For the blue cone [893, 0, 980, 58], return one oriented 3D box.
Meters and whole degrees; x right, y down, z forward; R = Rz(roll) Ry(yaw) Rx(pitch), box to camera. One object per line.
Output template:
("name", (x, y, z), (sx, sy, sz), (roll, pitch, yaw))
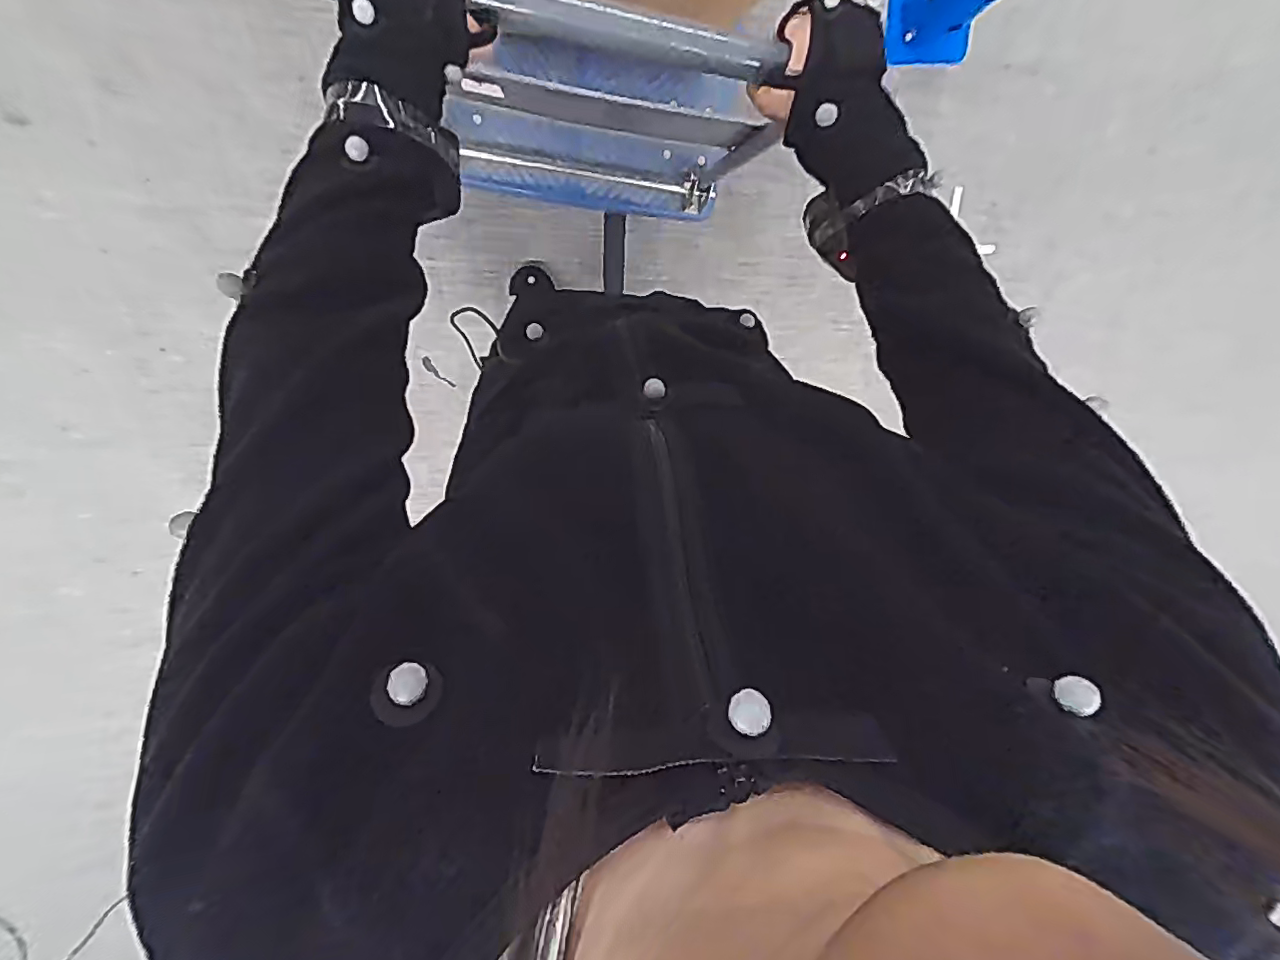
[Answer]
("blue cone", (0.667, -0.970, 1.022), (0.193, 0.380, 0.192), (-6, 113, -8))
